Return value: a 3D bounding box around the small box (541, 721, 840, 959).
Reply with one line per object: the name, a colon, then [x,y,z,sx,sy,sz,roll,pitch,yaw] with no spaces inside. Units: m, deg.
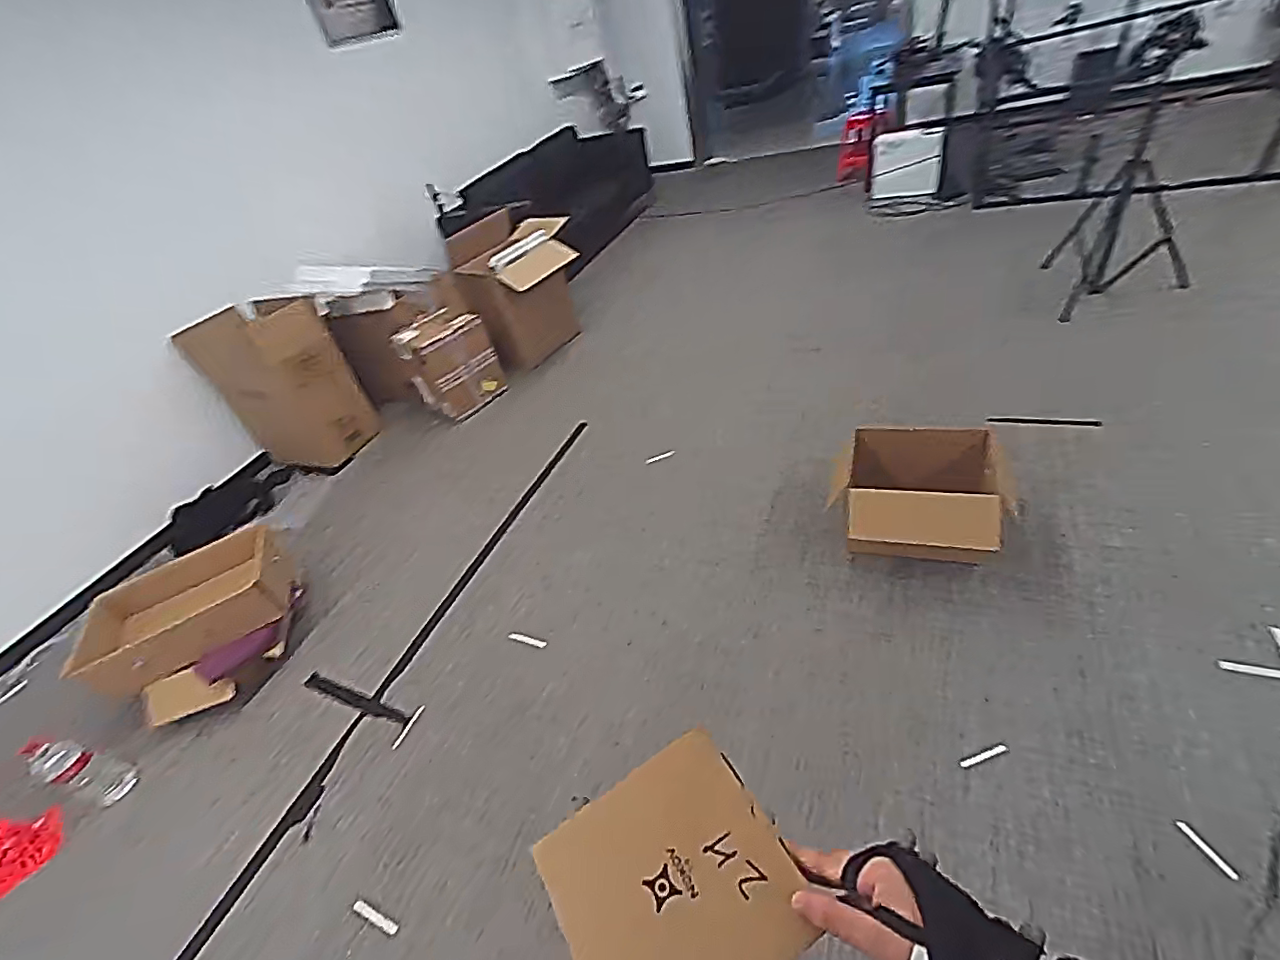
small box: [0.044,0.350,0.471,0.179,0.176,0.168,-30,54,-12]
